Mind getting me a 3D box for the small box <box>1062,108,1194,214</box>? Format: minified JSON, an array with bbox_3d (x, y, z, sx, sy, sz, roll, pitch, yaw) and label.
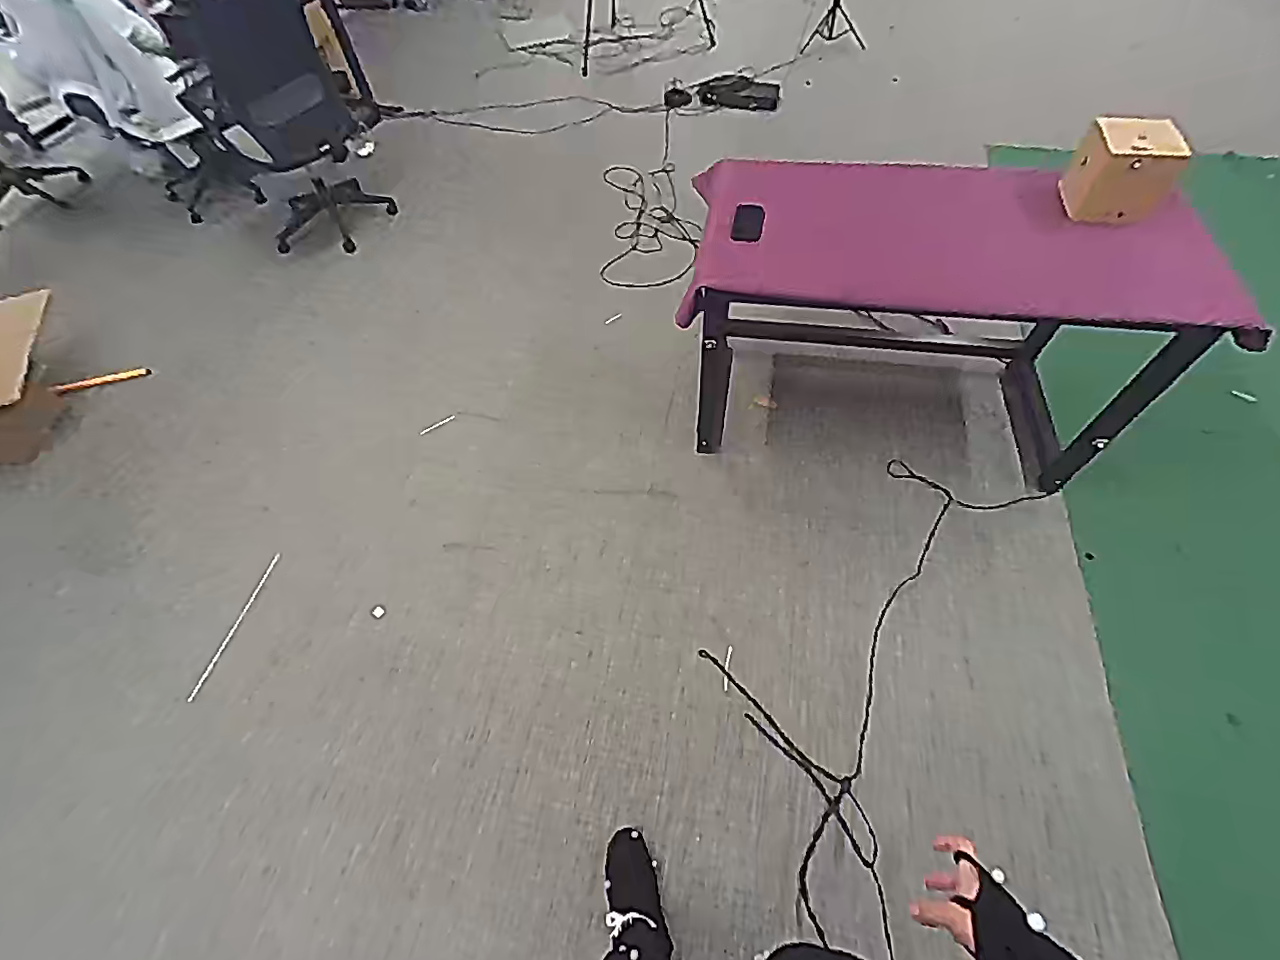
[{"bbox_3d":[1.186,-0.788,1.336,0.168,0.176,0.179,7,57,11],"label":"small box"}]
